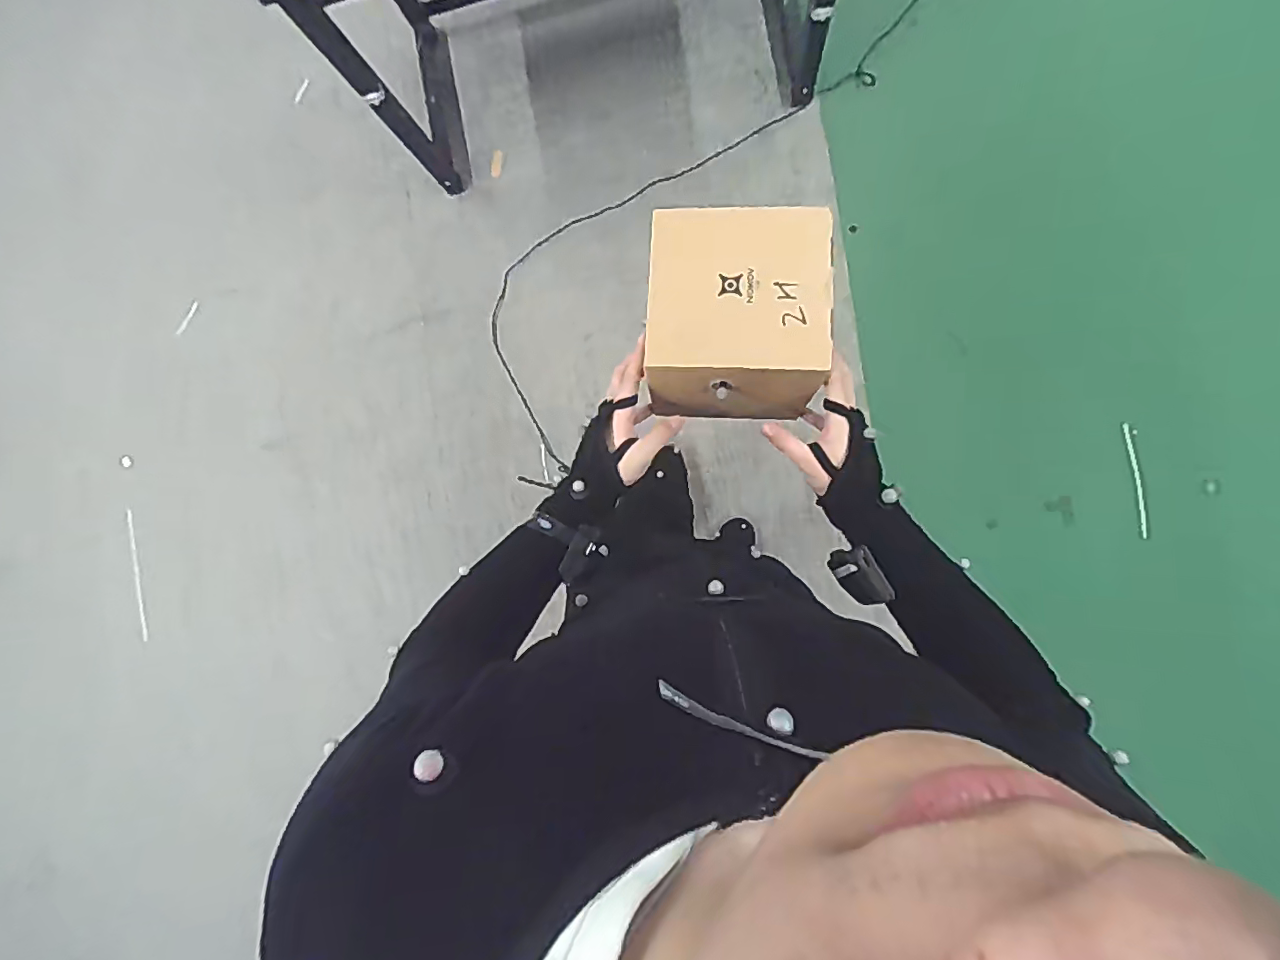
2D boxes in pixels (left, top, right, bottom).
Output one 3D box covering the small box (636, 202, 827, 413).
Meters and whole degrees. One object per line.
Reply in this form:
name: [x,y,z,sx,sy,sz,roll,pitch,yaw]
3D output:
small box: [0.096,-0.174,0.589,0.179,0.176,0.168,2,82,6]
